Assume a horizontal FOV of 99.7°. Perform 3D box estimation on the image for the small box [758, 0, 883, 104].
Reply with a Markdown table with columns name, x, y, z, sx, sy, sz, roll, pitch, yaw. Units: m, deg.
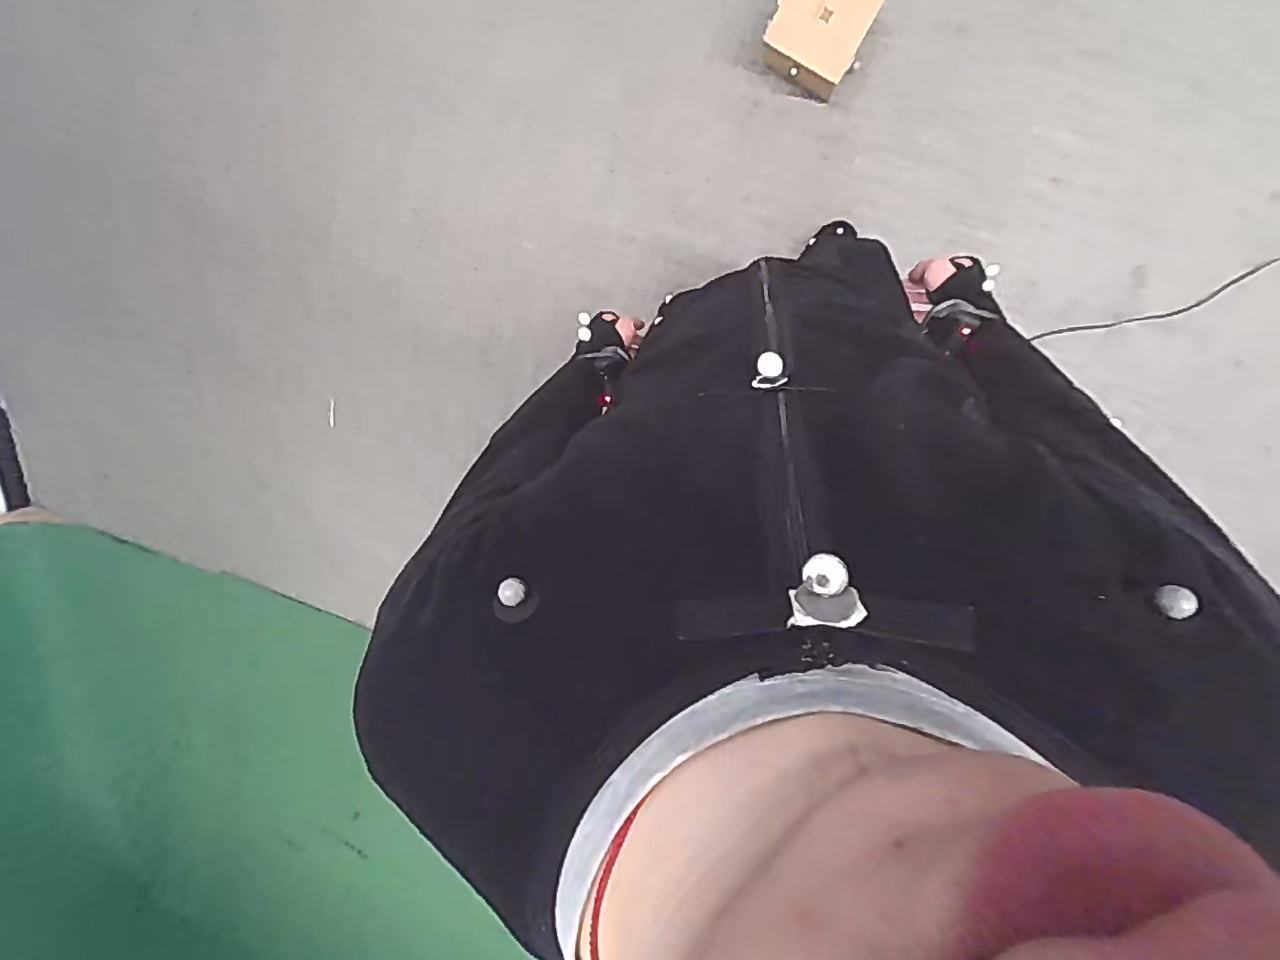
| name | x | y | z | sx | sy | sz | roll | pitch | yaw |
| --- | --- | --- | --- | --- | --- | --- | --- | --- | --- |
| small box | 0.360 | -0.914 | 1.115 | 0.179 | 0.176 | 0.168 | 29 | 118 | -2 |
